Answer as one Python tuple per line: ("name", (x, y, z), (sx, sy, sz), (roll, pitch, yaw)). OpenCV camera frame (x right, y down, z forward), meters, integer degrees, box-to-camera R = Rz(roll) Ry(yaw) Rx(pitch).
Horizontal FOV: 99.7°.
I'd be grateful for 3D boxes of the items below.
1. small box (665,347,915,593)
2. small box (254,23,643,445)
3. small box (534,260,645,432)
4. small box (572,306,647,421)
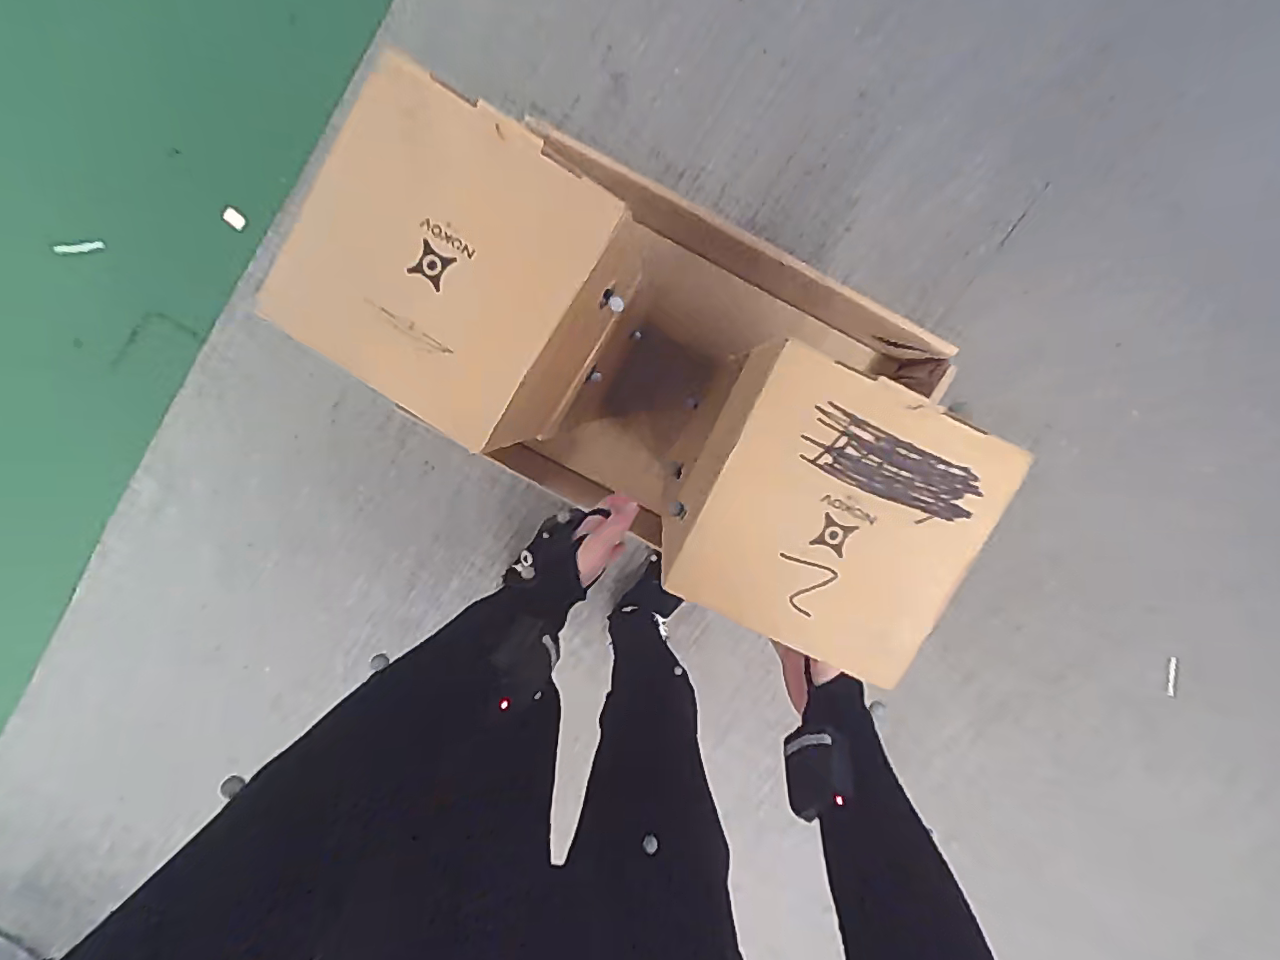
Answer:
("small box", (0.137, -0.018, 0.562), (0.168, 0.176, 0.179), (26, 99, -3))
("small box", (-0.111, -0.147, 0.389), (0.168, 0.176, 0.179), (34, 99, -3))
("small box", (-0.103, -0.167, 0.551), (0.168, 0.176, 0.179), (33, 98, -3))
("small box", (-0.098, -0.193, 0.712), (0.168, 0.176, 0.179), (29, 98, -1))
